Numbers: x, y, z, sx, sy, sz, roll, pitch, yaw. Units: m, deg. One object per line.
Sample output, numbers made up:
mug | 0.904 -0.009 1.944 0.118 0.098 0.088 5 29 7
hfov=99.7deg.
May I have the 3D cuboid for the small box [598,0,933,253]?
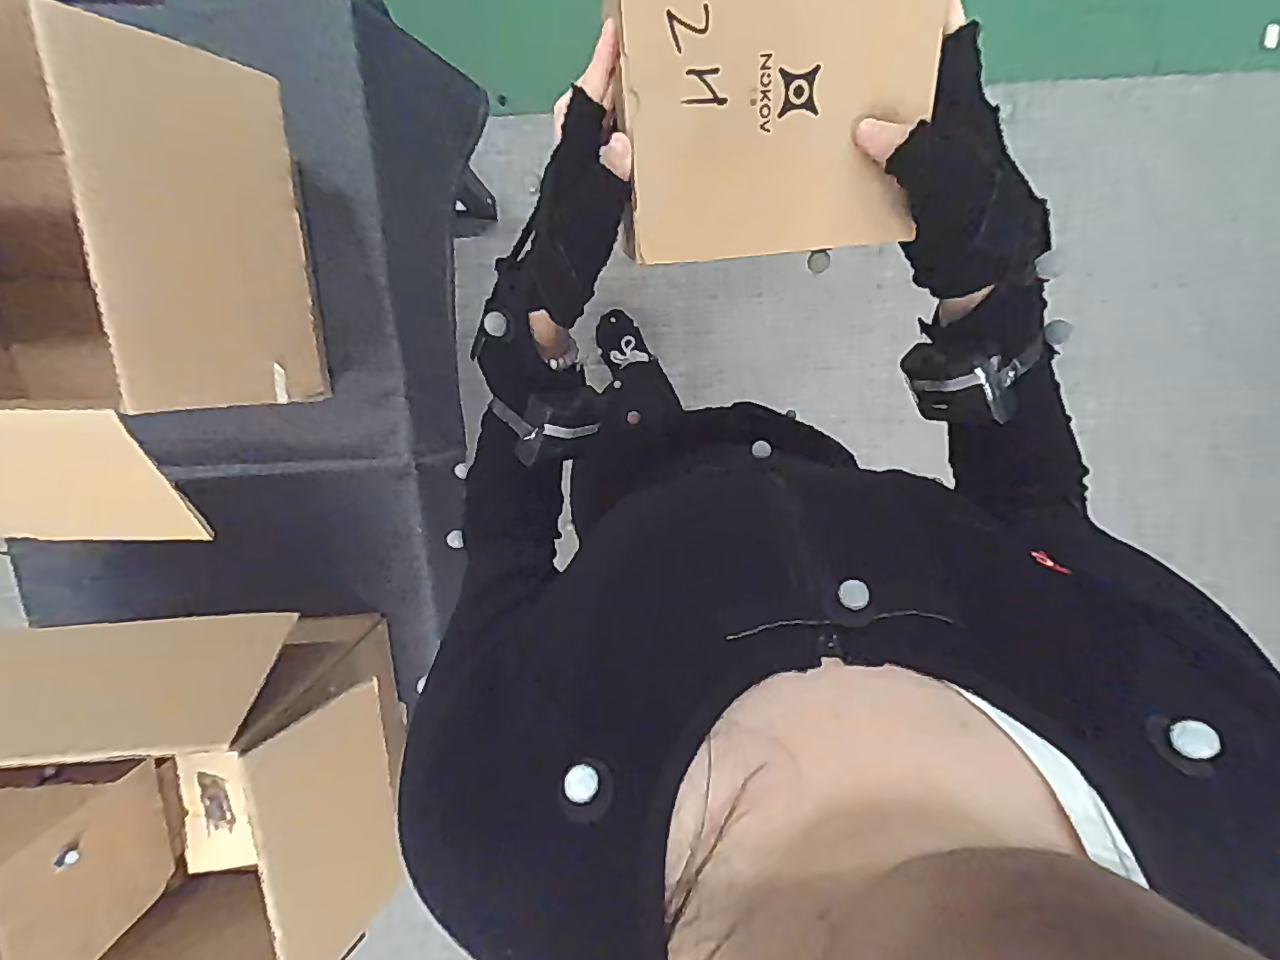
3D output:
small box | 0.067 -0.254 0.373 0.179 0.176 0.168 -5 115 -3
